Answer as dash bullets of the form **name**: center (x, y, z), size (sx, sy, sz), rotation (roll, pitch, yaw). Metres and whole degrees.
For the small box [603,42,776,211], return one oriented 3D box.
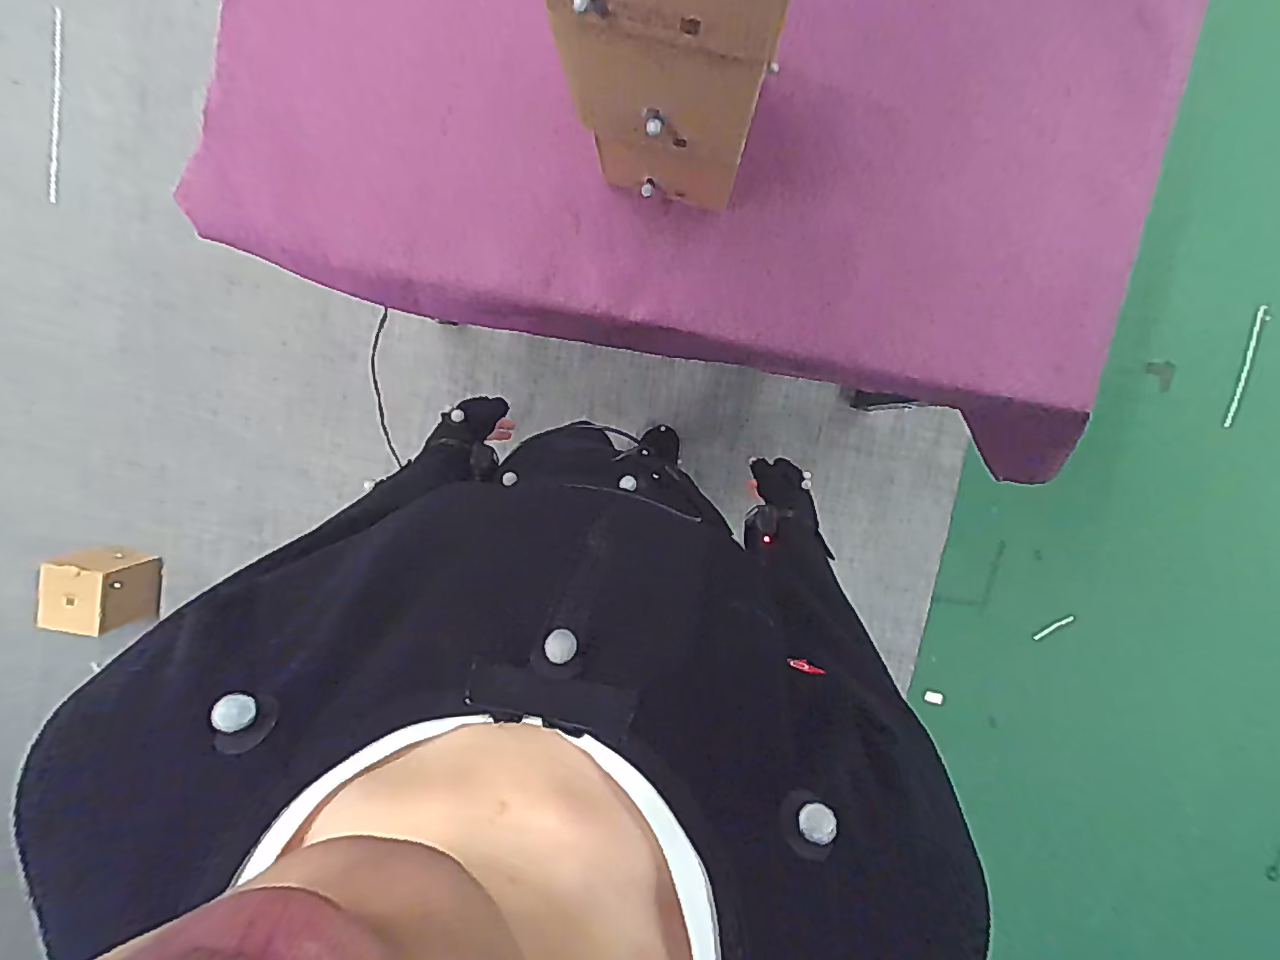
- **small box**: center (0.053, -0.444, 0.617), size (0.168, 0.176, 0.179), rotation (15, 96, 1)

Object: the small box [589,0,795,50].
- **small box**: center (0.035, -0.390, 0.294), size (0.168, 0.176, 0.179), rotation (14, 95, 1)

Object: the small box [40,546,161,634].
- **small box**: center (-1.453, 0.293, 1.466), size (0.168, 0.176, 0.179), rotation (10, 96, 1)

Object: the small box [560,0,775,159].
- **small box**: center (0.039, -0.415, 0.456), size (0.168, 0.176, 0.179), rotation (14, 96, 2)
